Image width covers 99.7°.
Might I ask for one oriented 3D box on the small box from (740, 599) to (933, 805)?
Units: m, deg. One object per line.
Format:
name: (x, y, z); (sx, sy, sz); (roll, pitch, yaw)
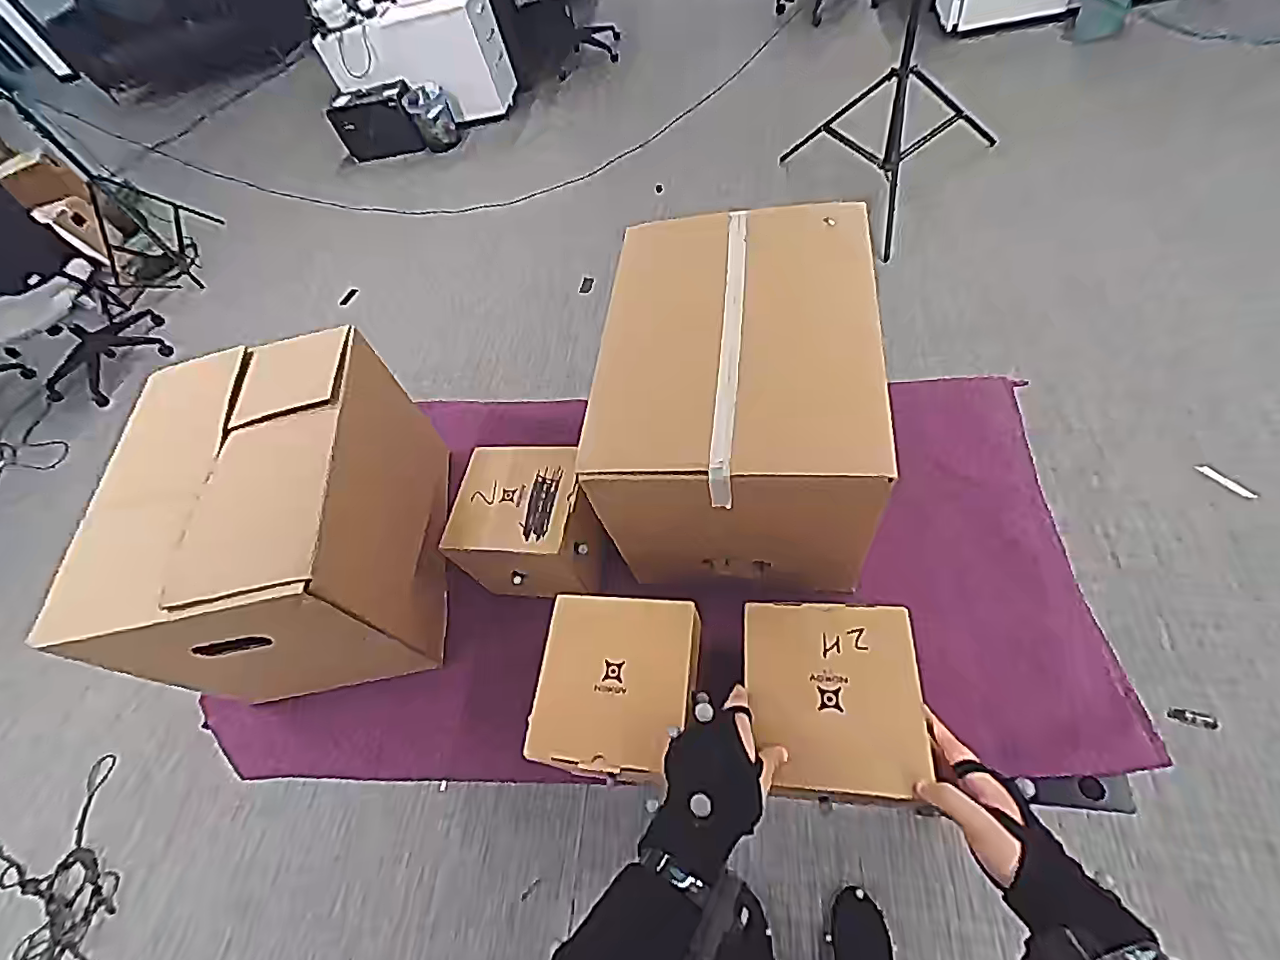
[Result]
small box: (0.200, 0.243, 0.587); (0.168, 0.176, 0.179); (-1, 57, 14)
